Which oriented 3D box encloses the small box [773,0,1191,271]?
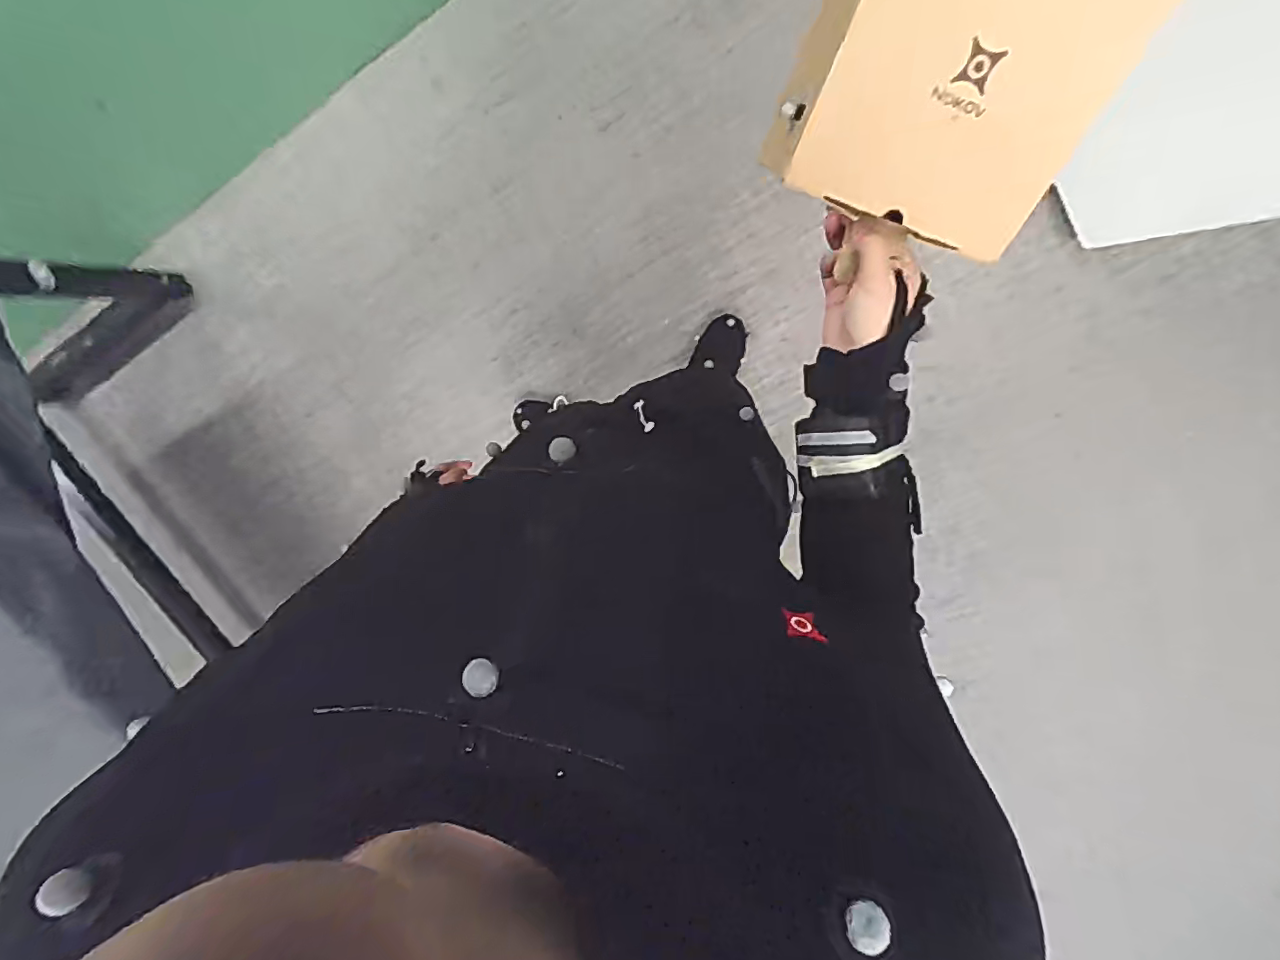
[{"bbox_3d":[0.209,-0.283,0.388,0.168,0.176,0.179,17,126,-7],"label":"small box"}]
